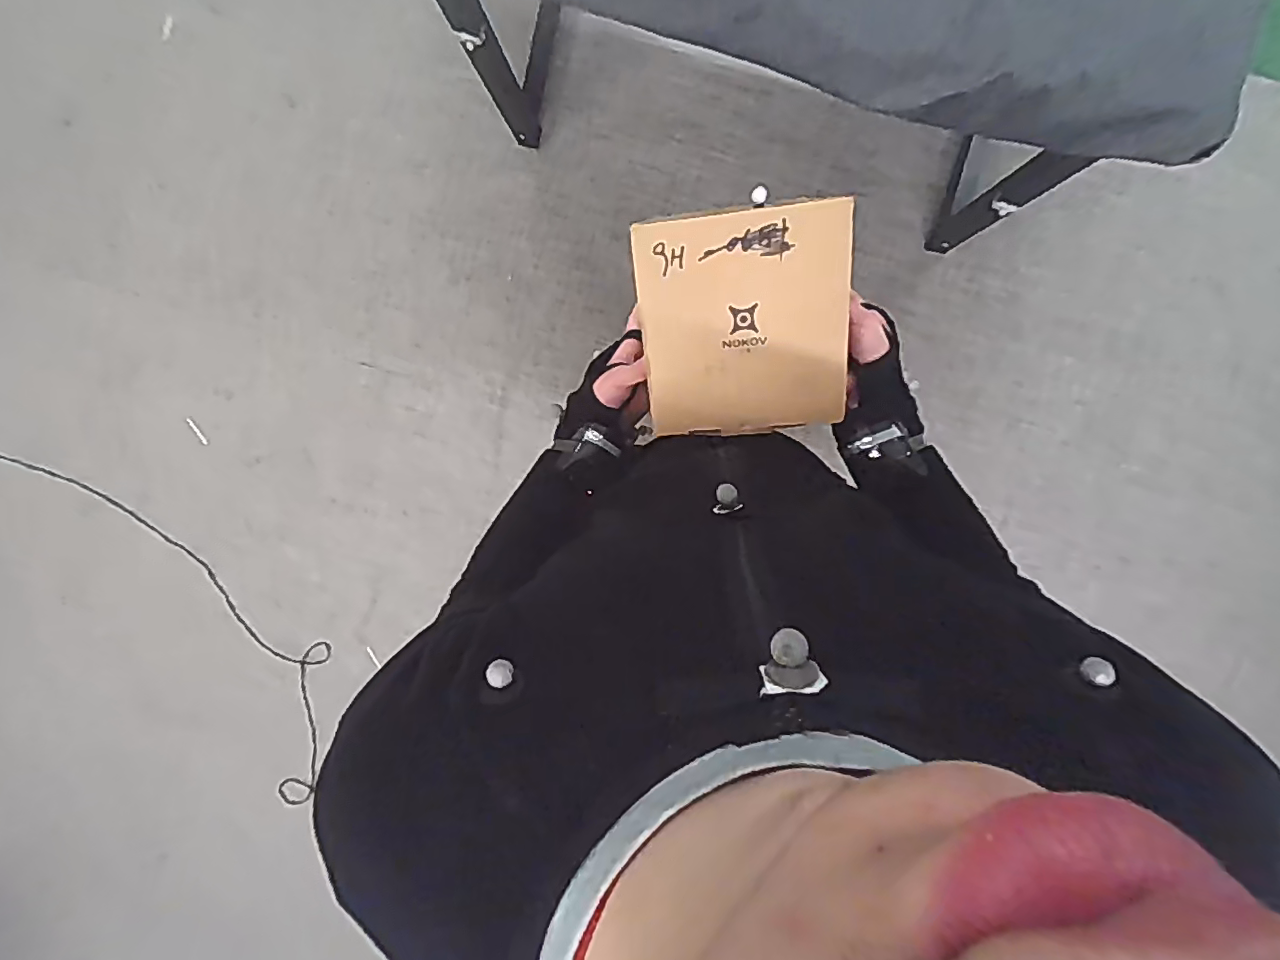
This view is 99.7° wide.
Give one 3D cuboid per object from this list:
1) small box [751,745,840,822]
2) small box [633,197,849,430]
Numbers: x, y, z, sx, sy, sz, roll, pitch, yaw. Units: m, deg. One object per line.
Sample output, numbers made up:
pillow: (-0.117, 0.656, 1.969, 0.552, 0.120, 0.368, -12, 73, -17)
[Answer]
small box: (0.453, 0.925, 1.599, 0.179, 0.176, 0.168, 28, 96, -1)
small box: (0.090, -0.164, 0.519, 0.168, 0.176, 0.179, -3, 118, 7)
